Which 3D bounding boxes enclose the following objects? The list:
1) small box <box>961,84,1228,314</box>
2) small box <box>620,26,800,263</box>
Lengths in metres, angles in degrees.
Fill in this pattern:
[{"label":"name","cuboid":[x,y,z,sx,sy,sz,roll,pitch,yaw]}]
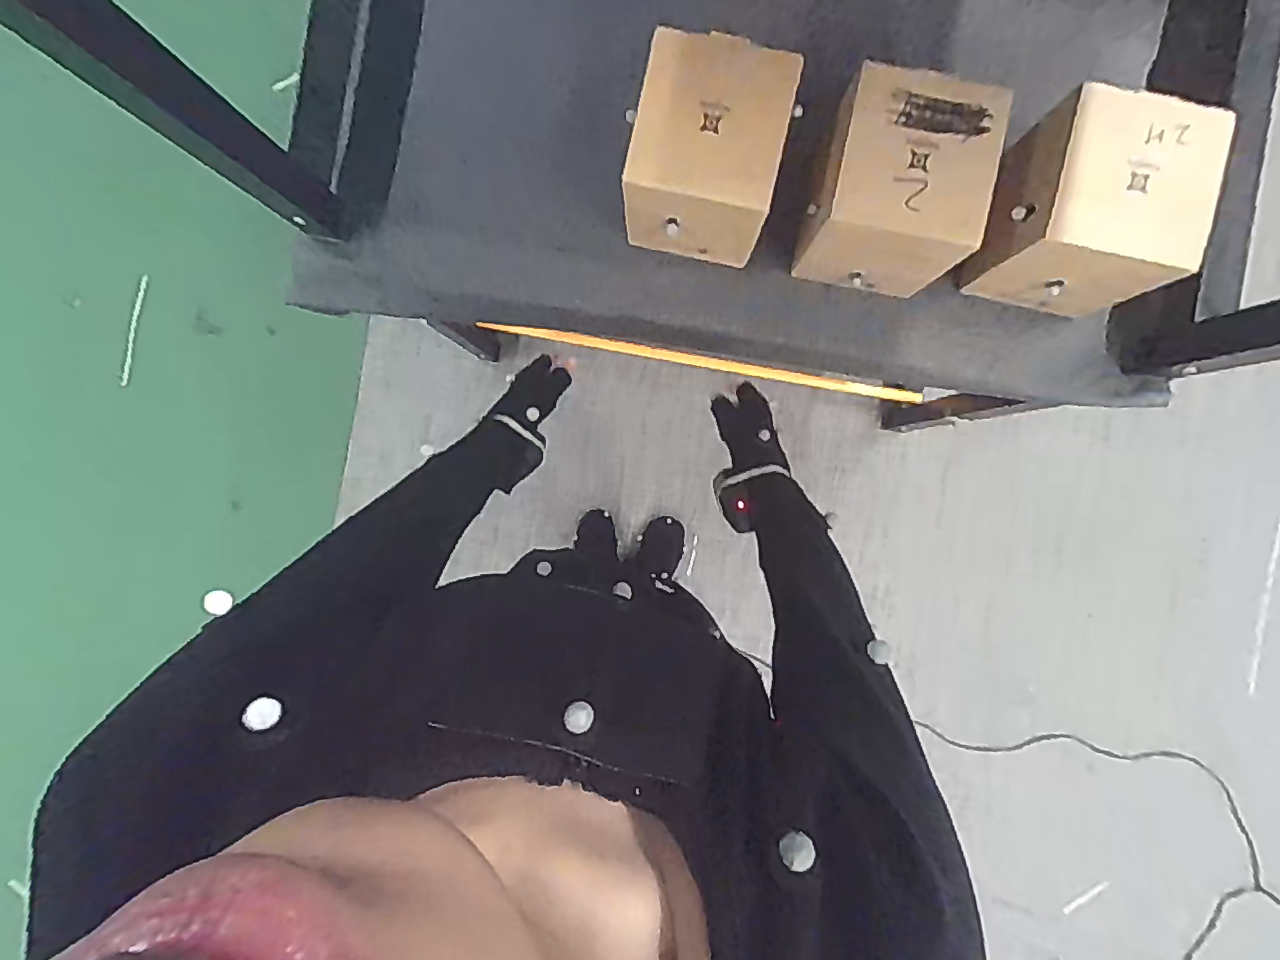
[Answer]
[{"label":"small box","cuboid":[0.526,-0.321,0.655,0.168,0.176,0.179,14,90,1]},{"label":"small box","cuboid":[0.079,-0.394,0.668,0.168,0.176,0.179,13,90,2]}]
